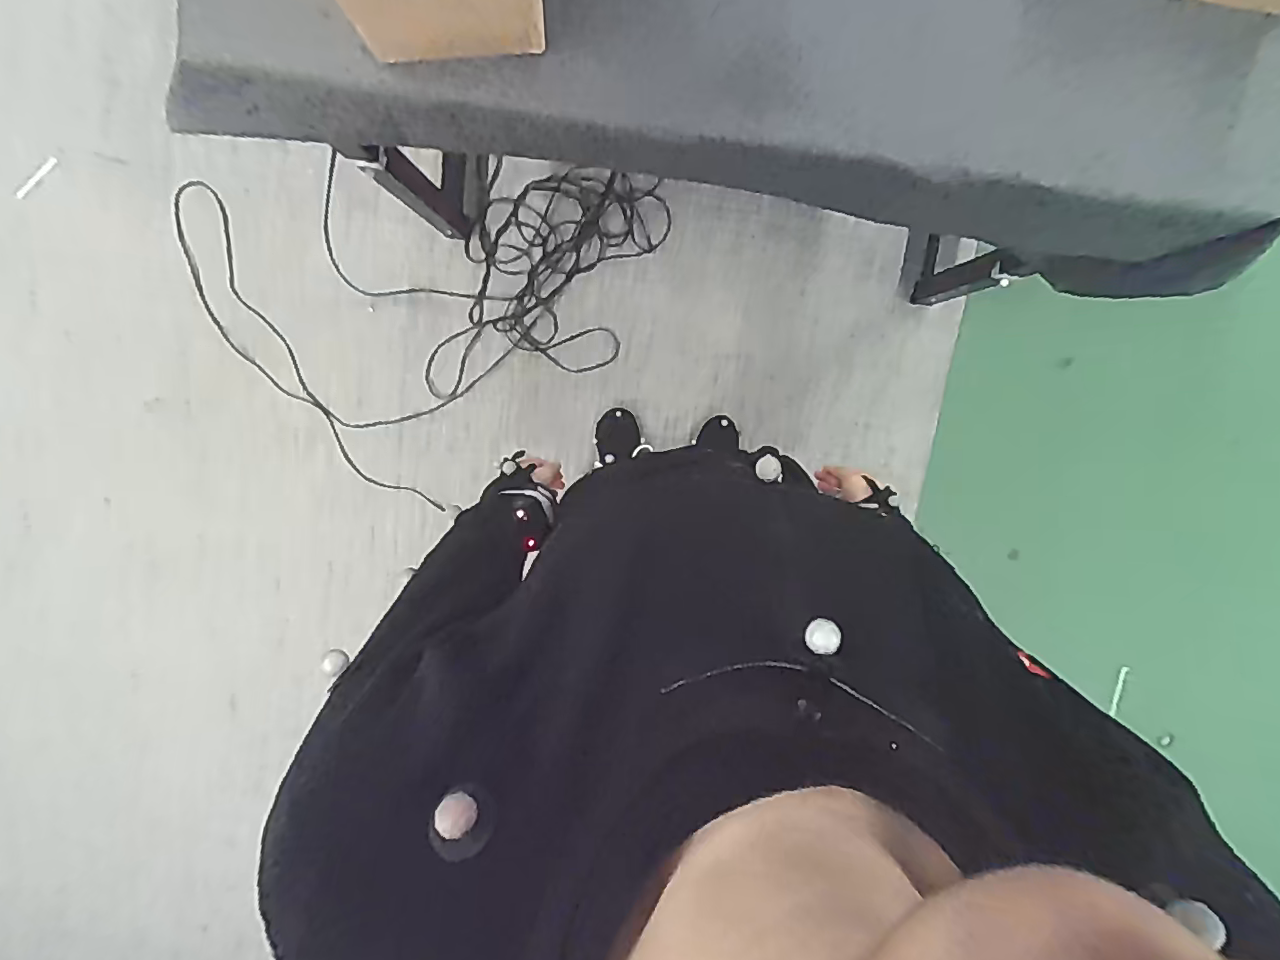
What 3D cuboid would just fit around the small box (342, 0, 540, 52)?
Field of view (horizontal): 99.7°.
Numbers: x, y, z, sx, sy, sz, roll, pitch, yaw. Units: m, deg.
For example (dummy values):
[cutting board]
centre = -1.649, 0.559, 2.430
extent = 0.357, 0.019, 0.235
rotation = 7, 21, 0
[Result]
[small box]
centre = -0.185, -0.510, 0.466
extent = 0.179, 0.176, 0.168
rotation = -3, 98, 0
